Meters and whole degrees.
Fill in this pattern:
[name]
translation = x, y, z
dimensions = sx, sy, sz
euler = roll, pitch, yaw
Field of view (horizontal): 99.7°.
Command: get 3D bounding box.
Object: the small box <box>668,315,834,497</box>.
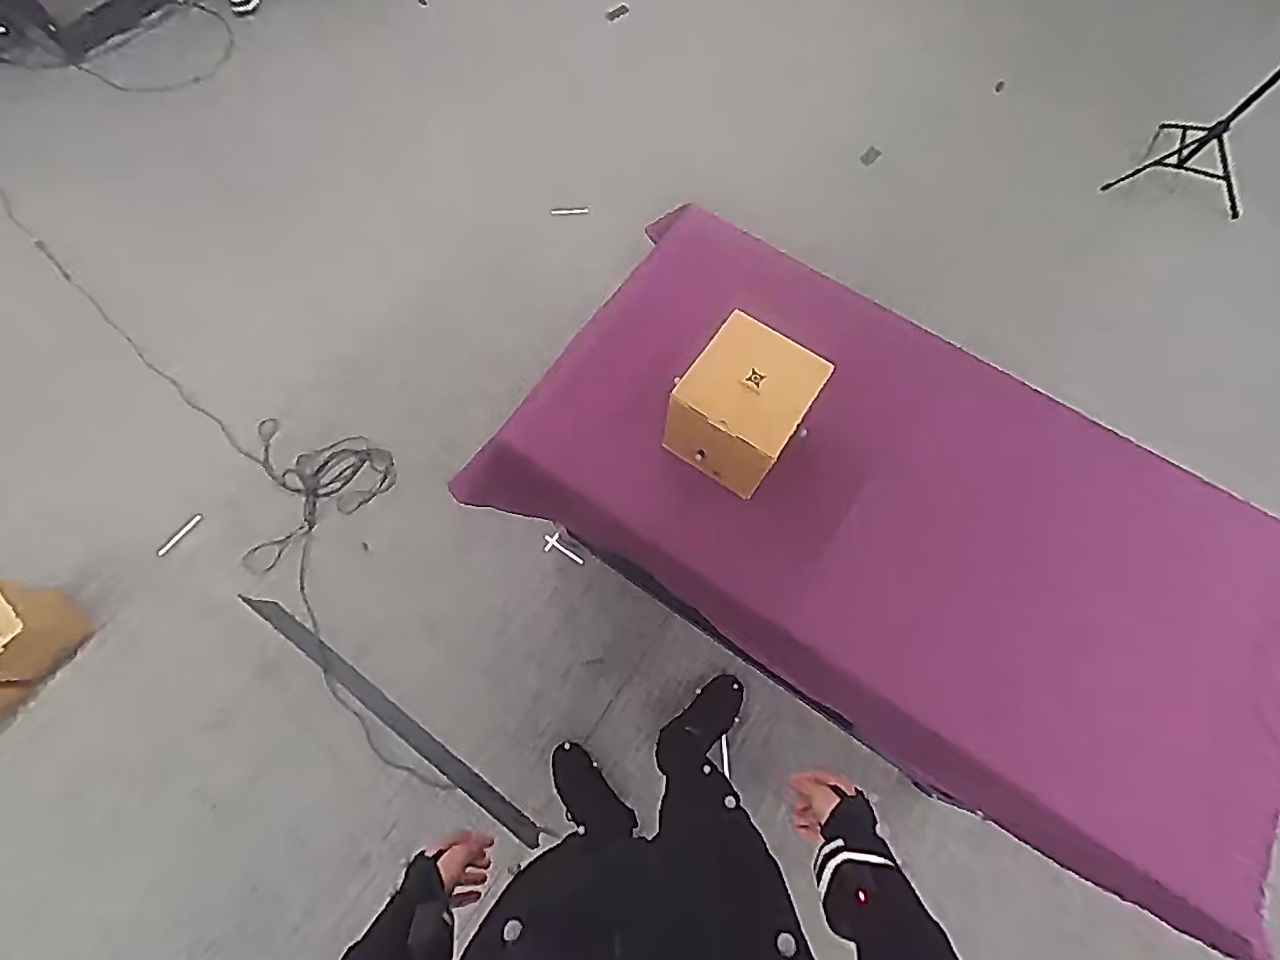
[small box]
translation = 0.154, -0.103, 0.817
dimensions = 0.168, 0.176, 0.179
euler = 34, 73, 10
